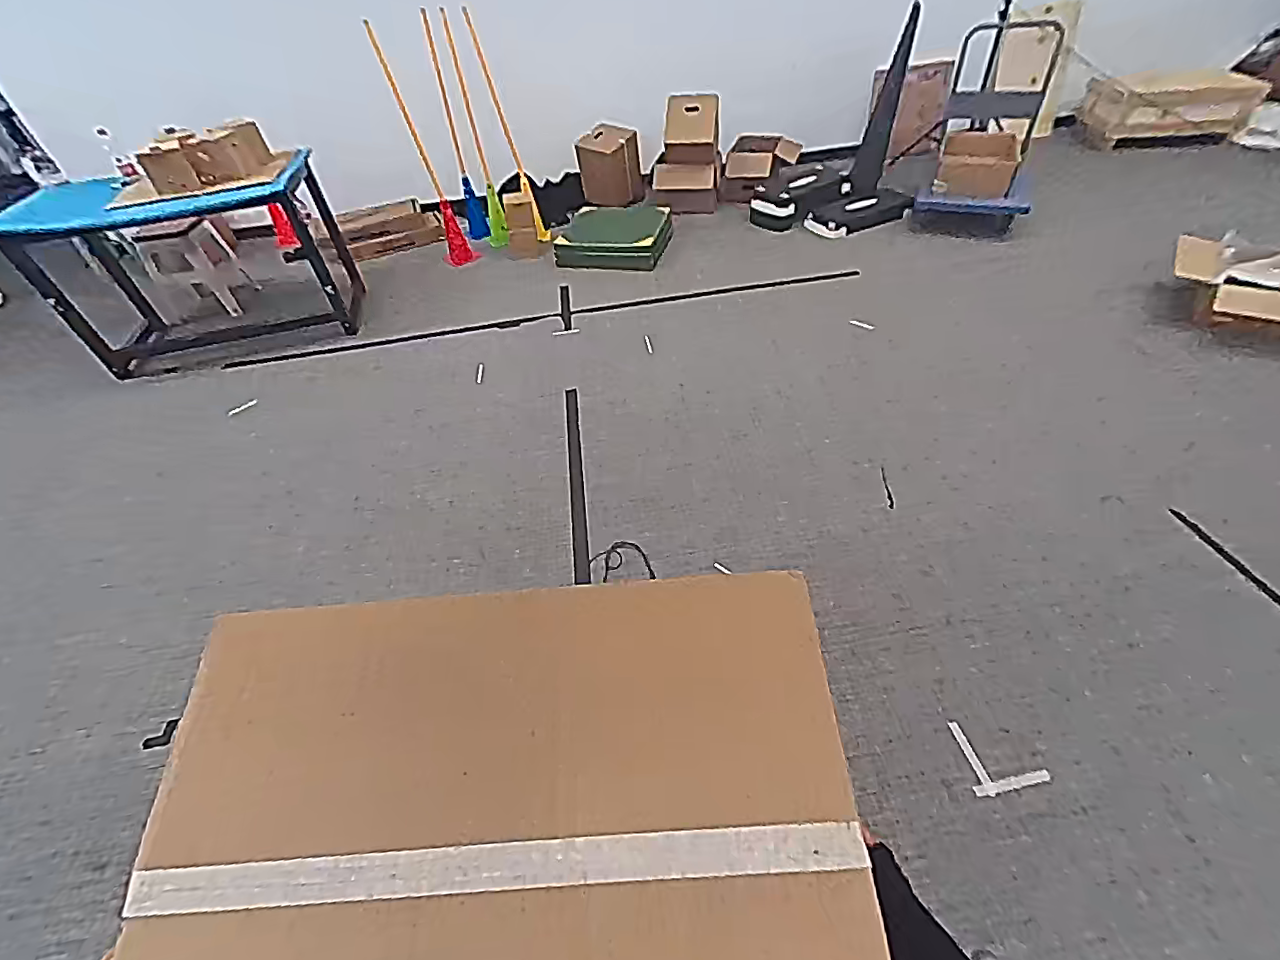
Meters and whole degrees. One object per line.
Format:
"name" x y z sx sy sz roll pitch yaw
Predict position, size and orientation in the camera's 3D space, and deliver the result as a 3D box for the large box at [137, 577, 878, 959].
"large box" -0.070 0.292 0.436 0.408 0.320 0.320 -5 61 2
